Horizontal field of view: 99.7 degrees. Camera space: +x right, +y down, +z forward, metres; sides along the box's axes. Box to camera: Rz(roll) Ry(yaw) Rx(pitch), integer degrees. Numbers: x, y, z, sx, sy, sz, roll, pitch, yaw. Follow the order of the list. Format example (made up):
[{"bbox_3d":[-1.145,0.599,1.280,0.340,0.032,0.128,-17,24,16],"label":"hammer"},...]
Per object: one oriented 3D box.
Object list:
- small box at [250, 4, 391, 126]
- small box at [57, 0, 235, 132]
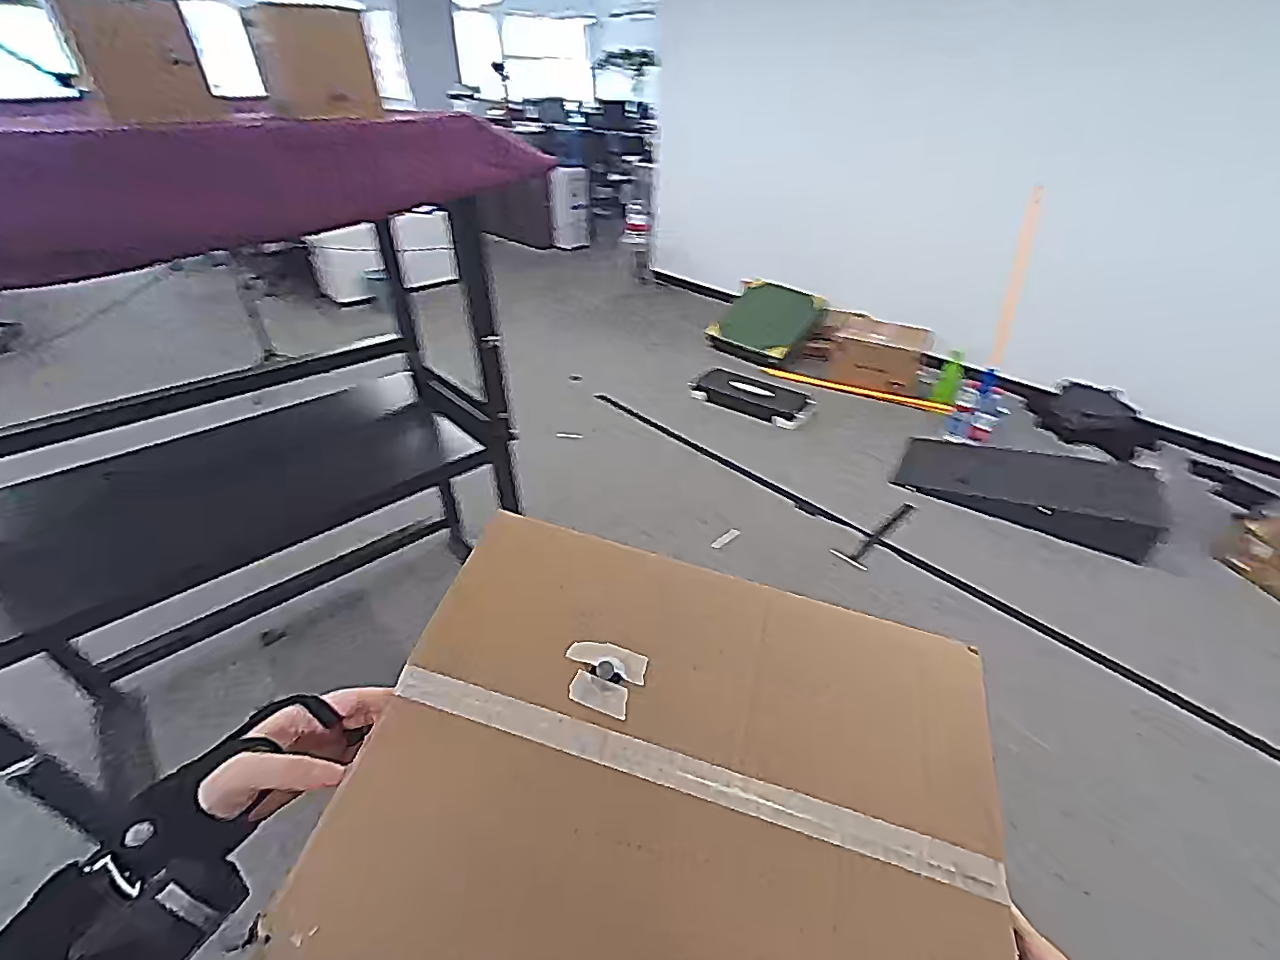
[{"bbox_3d":[-0.600,-0.787,1.037,0.179,0.176,0.168,-29,44,-35],"label":"small box"},{"bbox_3d":[-0.821,-0.697,0.914,0.179,0.176,0.168,-28,44,-33],"label":"small box"}]
